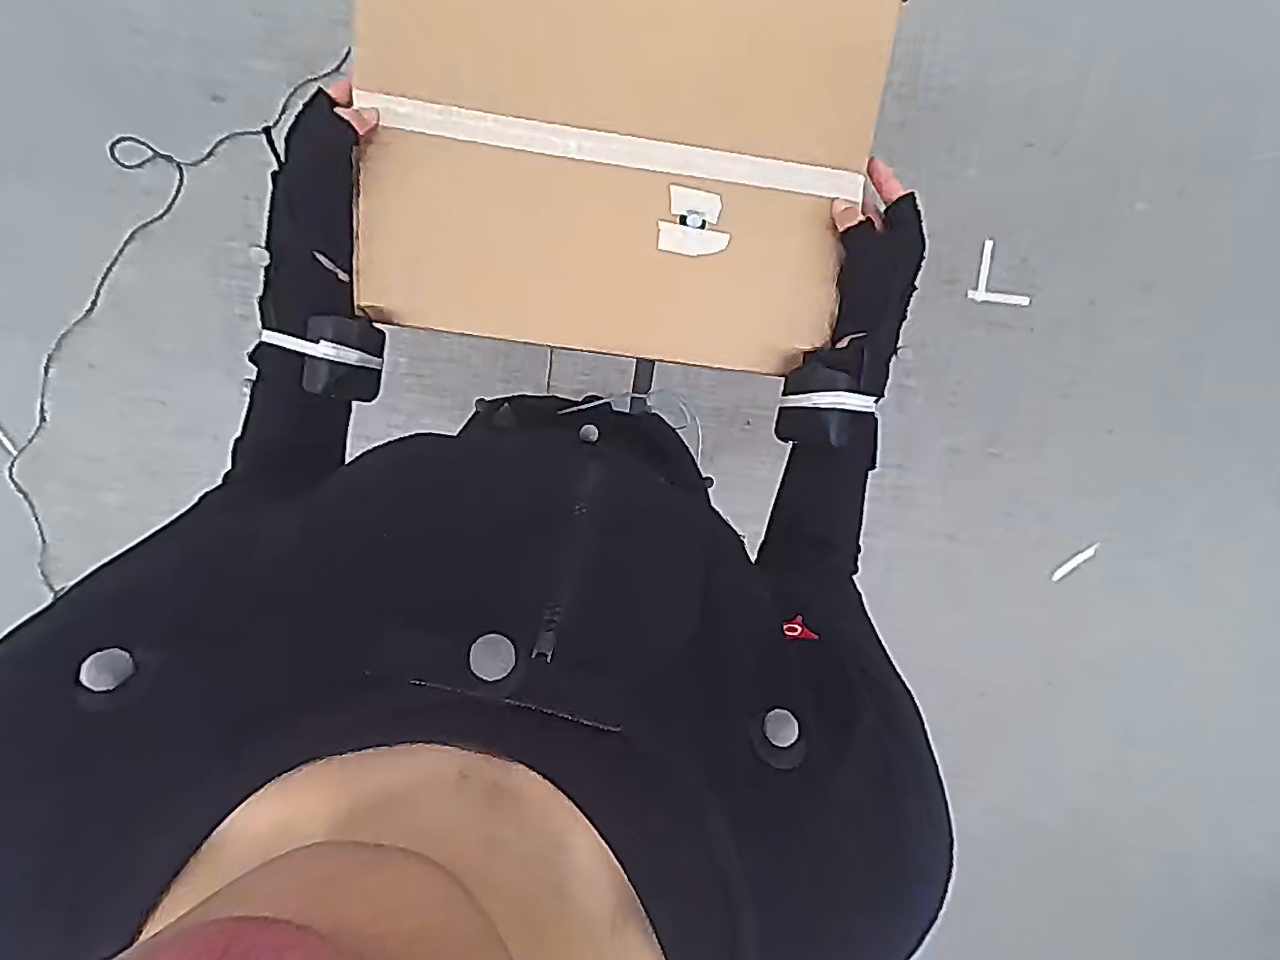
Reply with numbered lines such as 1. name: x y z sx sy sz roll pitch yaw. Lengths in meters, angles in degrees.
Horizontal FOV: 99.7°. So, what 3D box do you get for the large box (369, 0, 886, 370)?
1. large box: -0.028 -0.301 0.587 0.408 0.320 0.320 6 105 -6
